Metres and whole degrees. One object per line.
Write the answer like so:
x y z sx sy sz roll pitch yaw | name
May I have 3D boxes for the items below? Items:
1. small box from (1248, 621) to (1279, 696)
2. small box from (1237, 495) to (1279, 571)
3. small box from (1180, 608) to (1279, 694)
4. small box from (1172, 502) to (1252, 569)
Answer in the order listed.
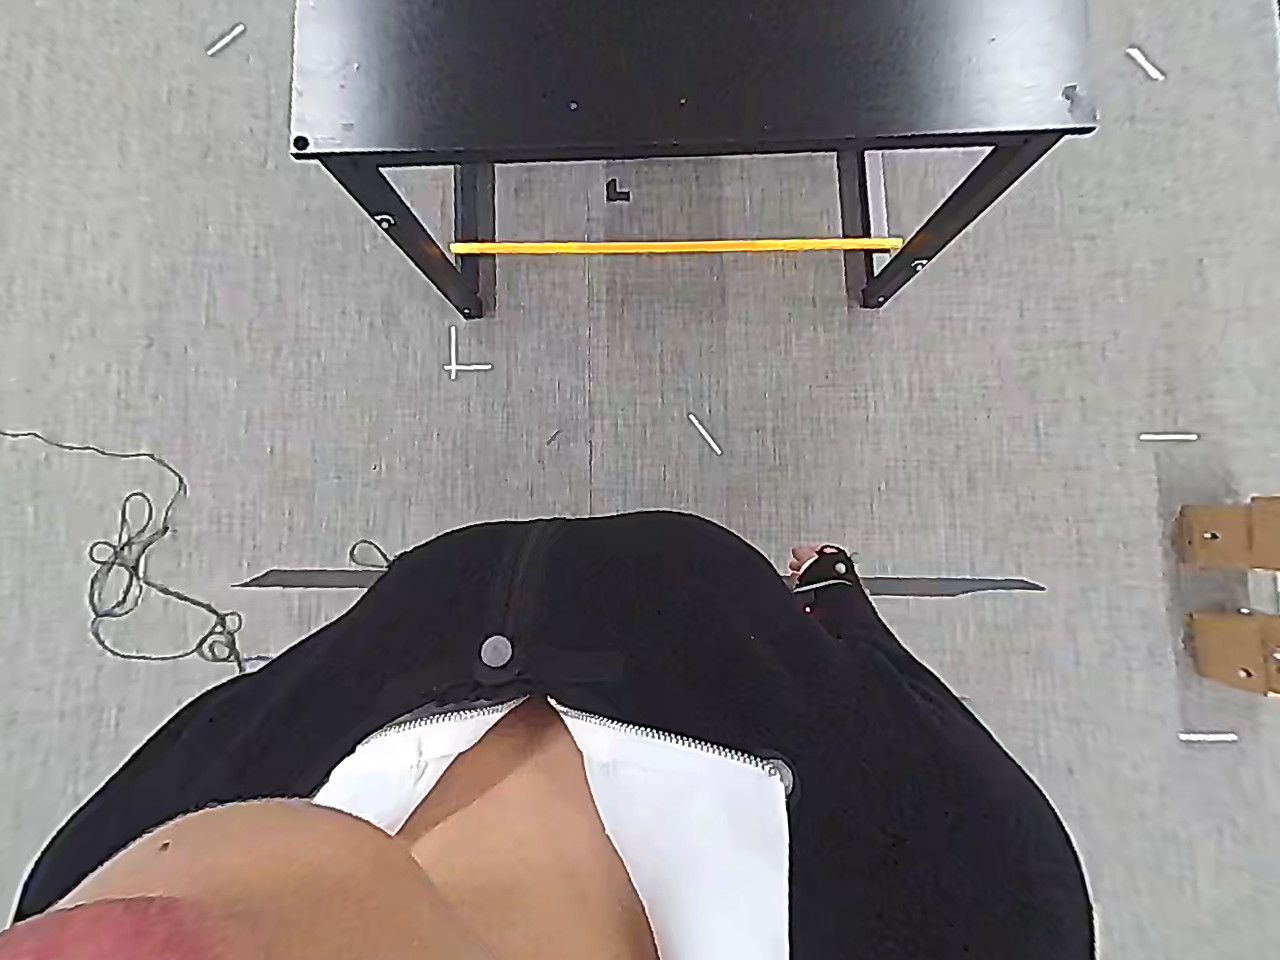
1.557 0.417 1.223 0.179 0.176 0.168 0 86 2 | small box
1.536 0.124 1.238 0.168 0.176 0.179 3 86 1 | small box
1.547 0.431 1.385 0.168 0.176 0.179 -2 87 1 | small box
1.541 0.145 1.403 0.179 0.176 0.168 2 86 2 | small box
